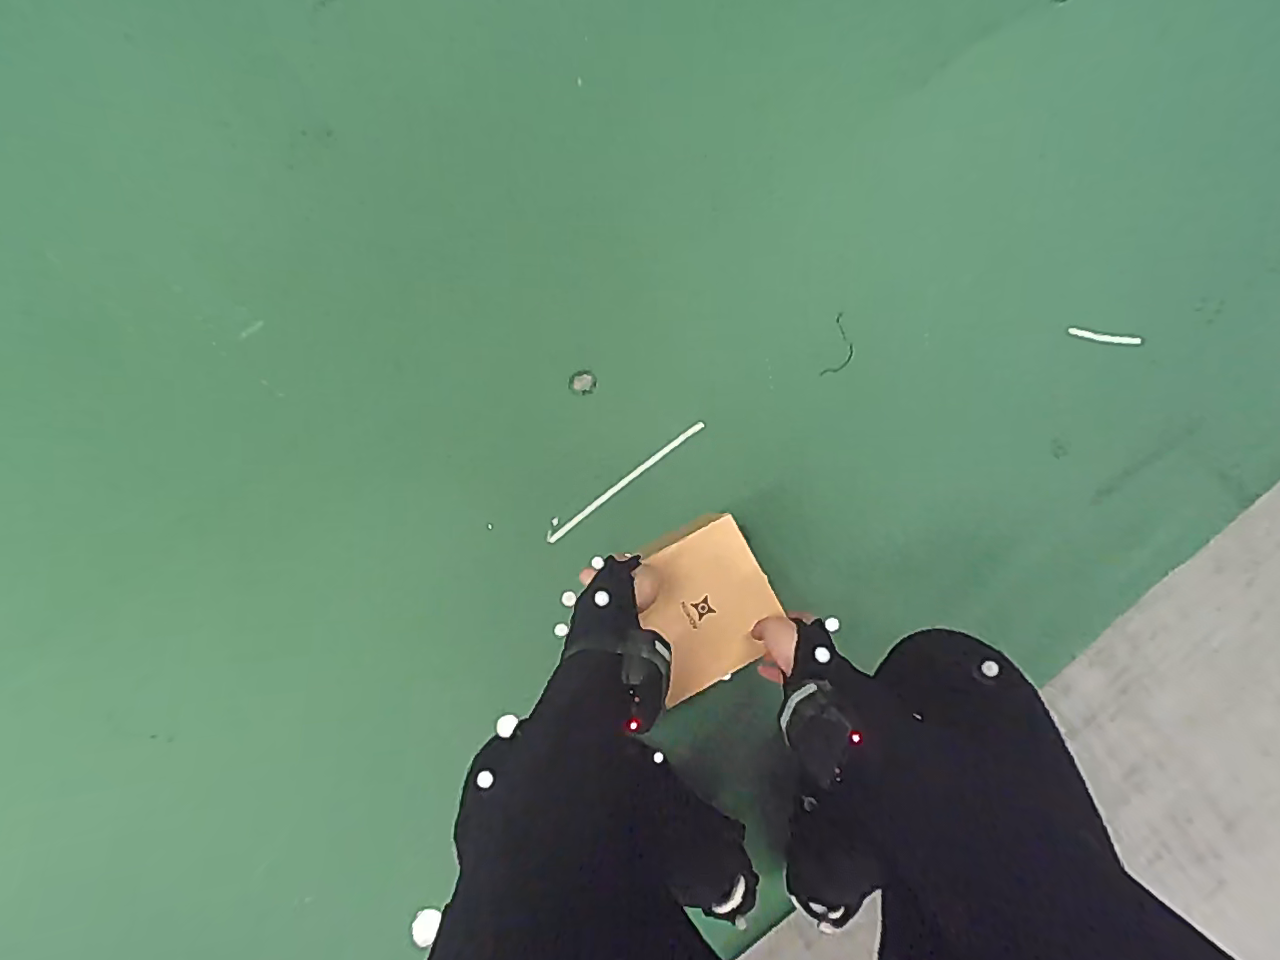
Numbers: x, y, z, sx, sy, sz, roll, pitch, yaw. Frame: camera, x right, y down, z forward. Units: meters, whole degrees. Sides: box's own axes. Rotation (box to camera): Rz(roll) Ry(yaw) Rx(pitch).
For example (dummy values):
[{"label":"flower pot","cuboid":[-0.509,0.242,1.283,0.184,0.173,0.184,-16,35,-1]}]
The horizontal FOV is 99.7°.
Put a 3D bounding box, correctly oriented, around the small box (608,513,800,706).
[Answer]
[{"label":"small box","cuboid":[0.068,0.149,0.695,0.179,0.176,0.168,-27,88,-4]}]
